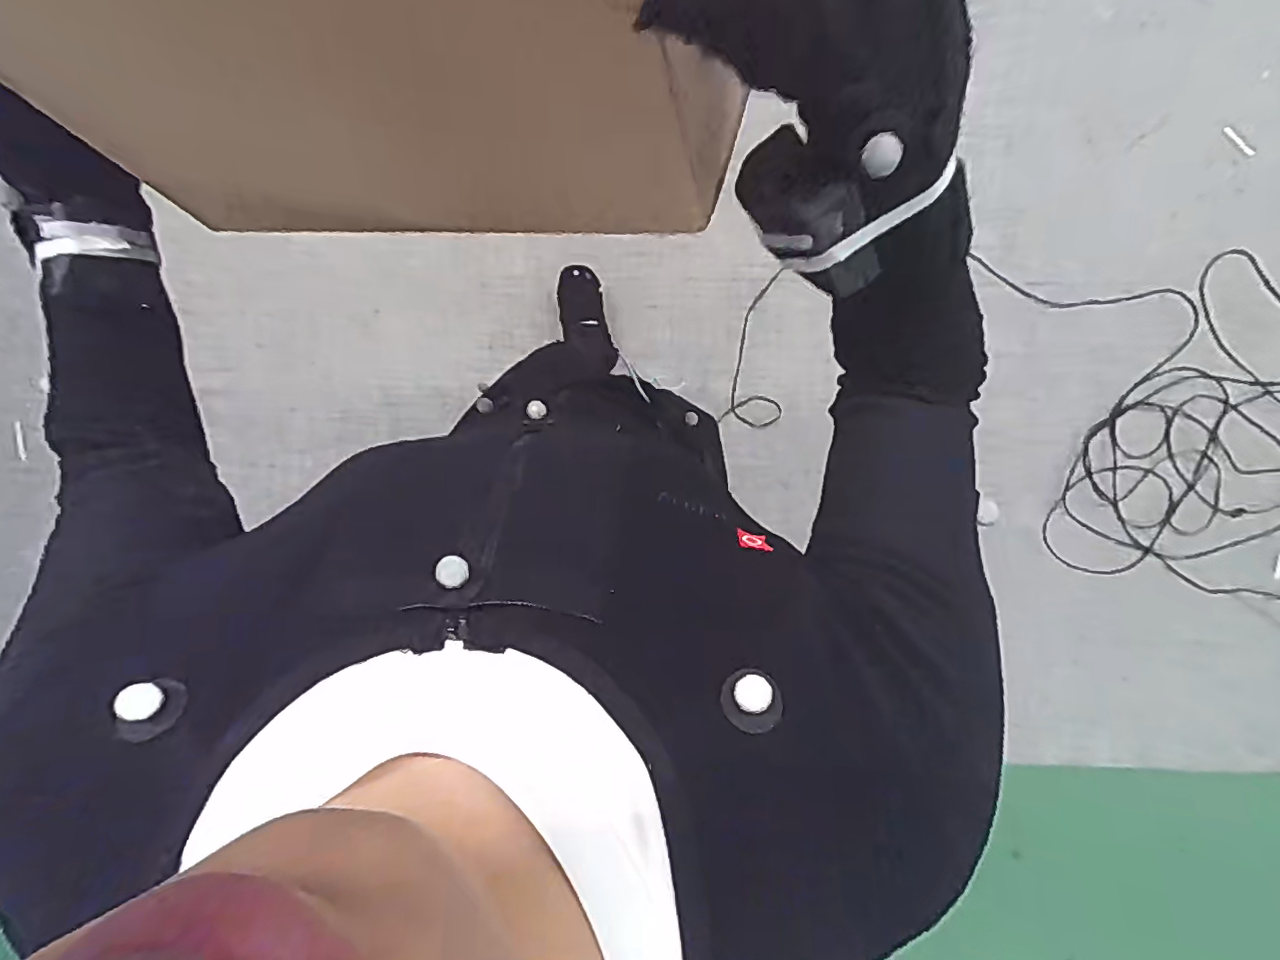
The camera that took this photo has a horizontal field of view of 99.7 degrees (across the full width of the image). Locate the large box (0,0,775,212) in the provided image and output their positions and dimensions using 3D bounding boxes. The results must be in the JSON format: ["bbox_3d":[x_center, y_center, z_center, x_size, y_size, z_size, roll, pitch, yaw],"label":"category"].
[{"bbox_3d":[-0.145,-0.358,0.249,0.408,0.320,0.320,11,77,20],"label":"large box"}]
